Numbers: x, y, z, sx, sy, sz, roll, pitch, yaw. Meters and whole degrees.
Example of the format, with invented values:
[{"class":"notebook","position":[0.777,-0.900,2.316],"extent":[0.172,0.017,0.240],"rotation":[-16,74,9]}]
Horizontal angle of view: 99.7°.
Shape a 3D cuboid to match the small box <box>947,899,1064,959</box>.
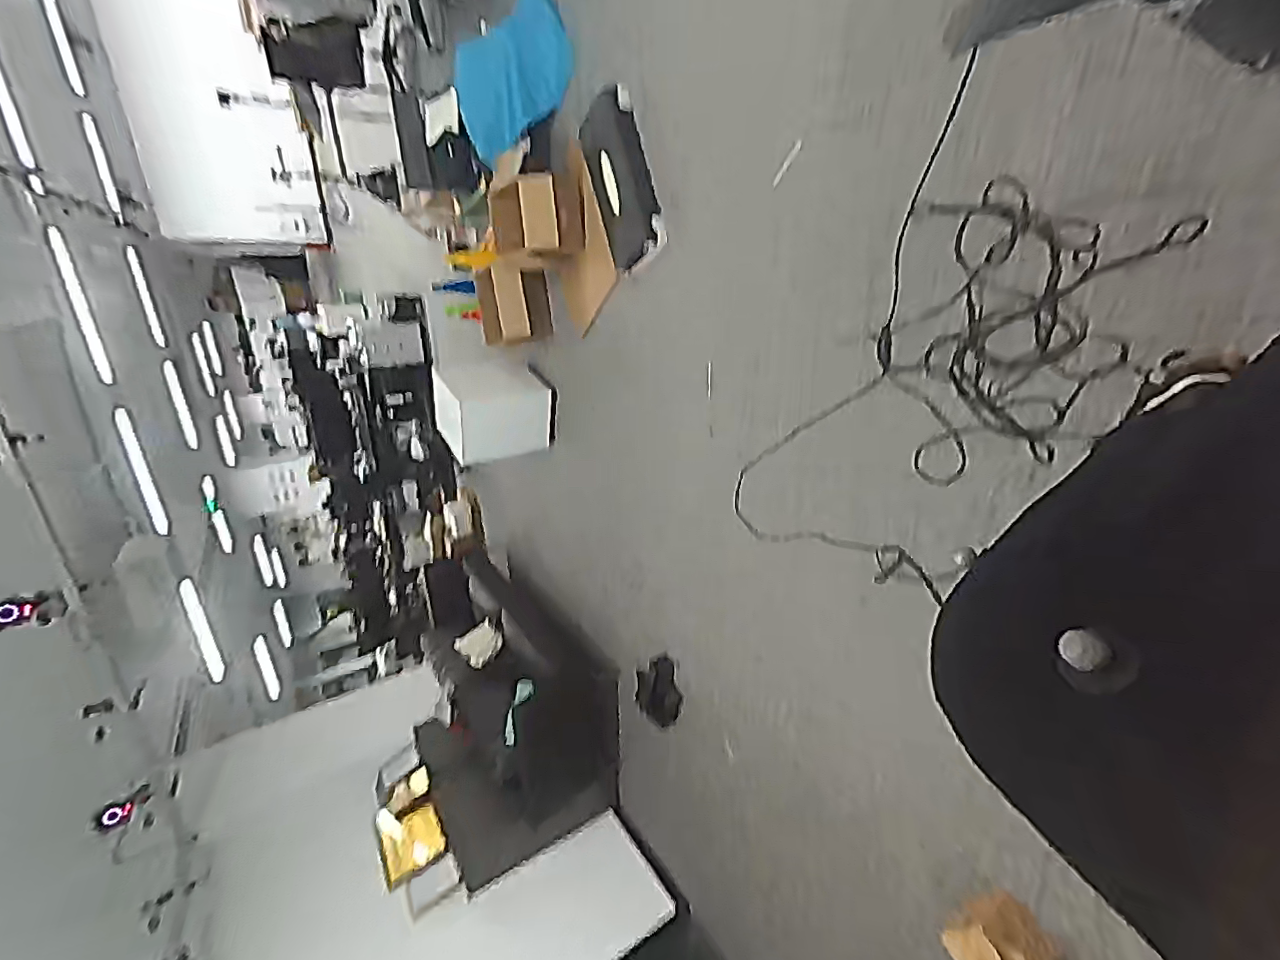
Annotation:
[{"class":"small box","position":[0.992,1.286,1.467],"extent":[0.168,0.176,0.179],"rotation":[53,142,34]}]
